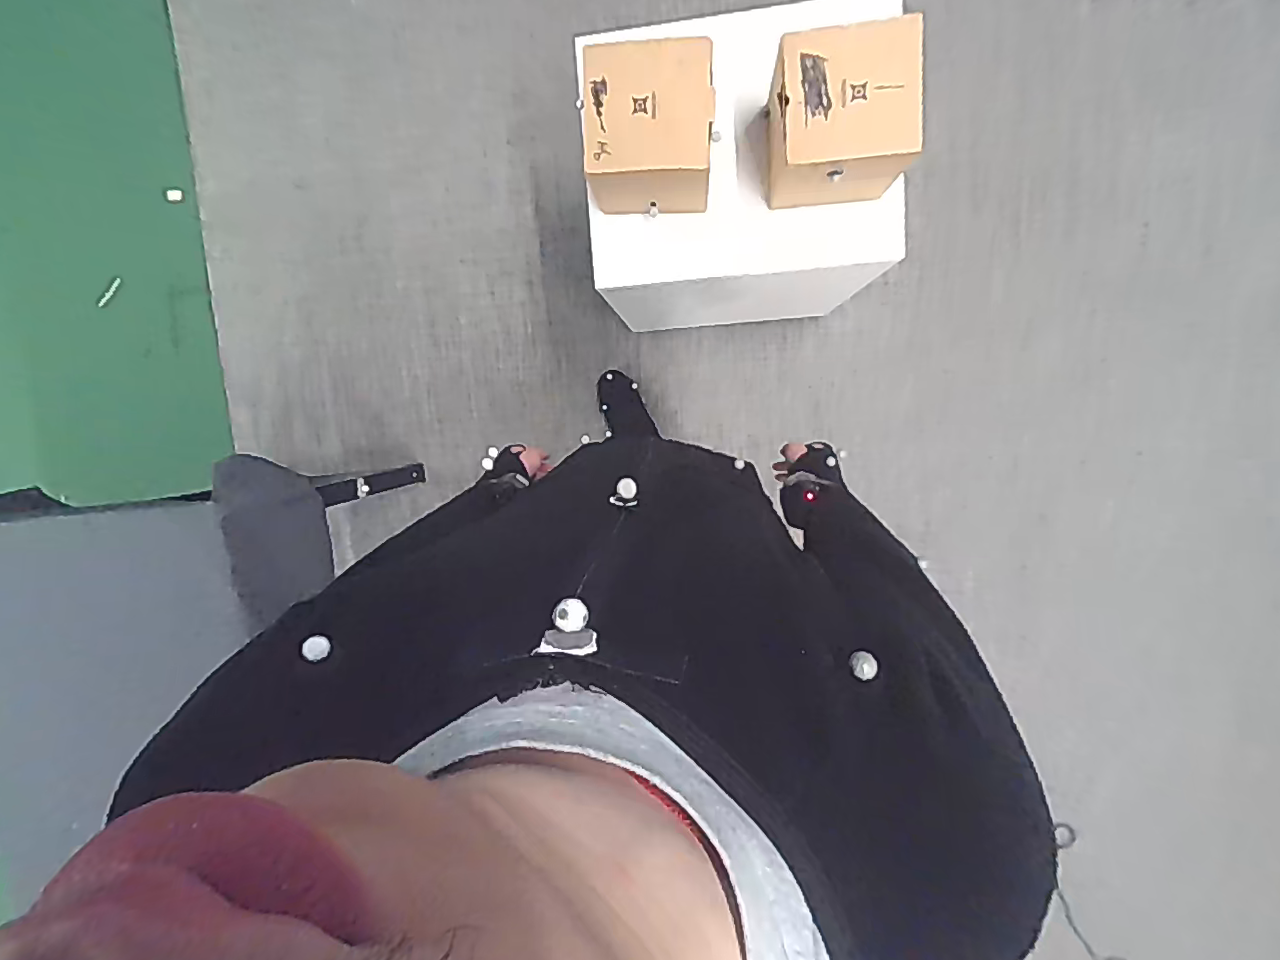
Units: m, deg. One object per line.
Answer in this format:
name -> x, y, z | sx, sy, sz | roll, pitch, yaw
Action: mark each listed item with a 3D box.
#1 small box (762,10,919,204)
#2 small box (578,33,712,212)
small box -> 0.272, -0.512, 0.771 | 0.179, 0.176, 0.168 | -4, 97, 4
small box -> 0.008, -0.506, 0.788 | 0.179, 0.176, 0.168 | 0, 97, 2
